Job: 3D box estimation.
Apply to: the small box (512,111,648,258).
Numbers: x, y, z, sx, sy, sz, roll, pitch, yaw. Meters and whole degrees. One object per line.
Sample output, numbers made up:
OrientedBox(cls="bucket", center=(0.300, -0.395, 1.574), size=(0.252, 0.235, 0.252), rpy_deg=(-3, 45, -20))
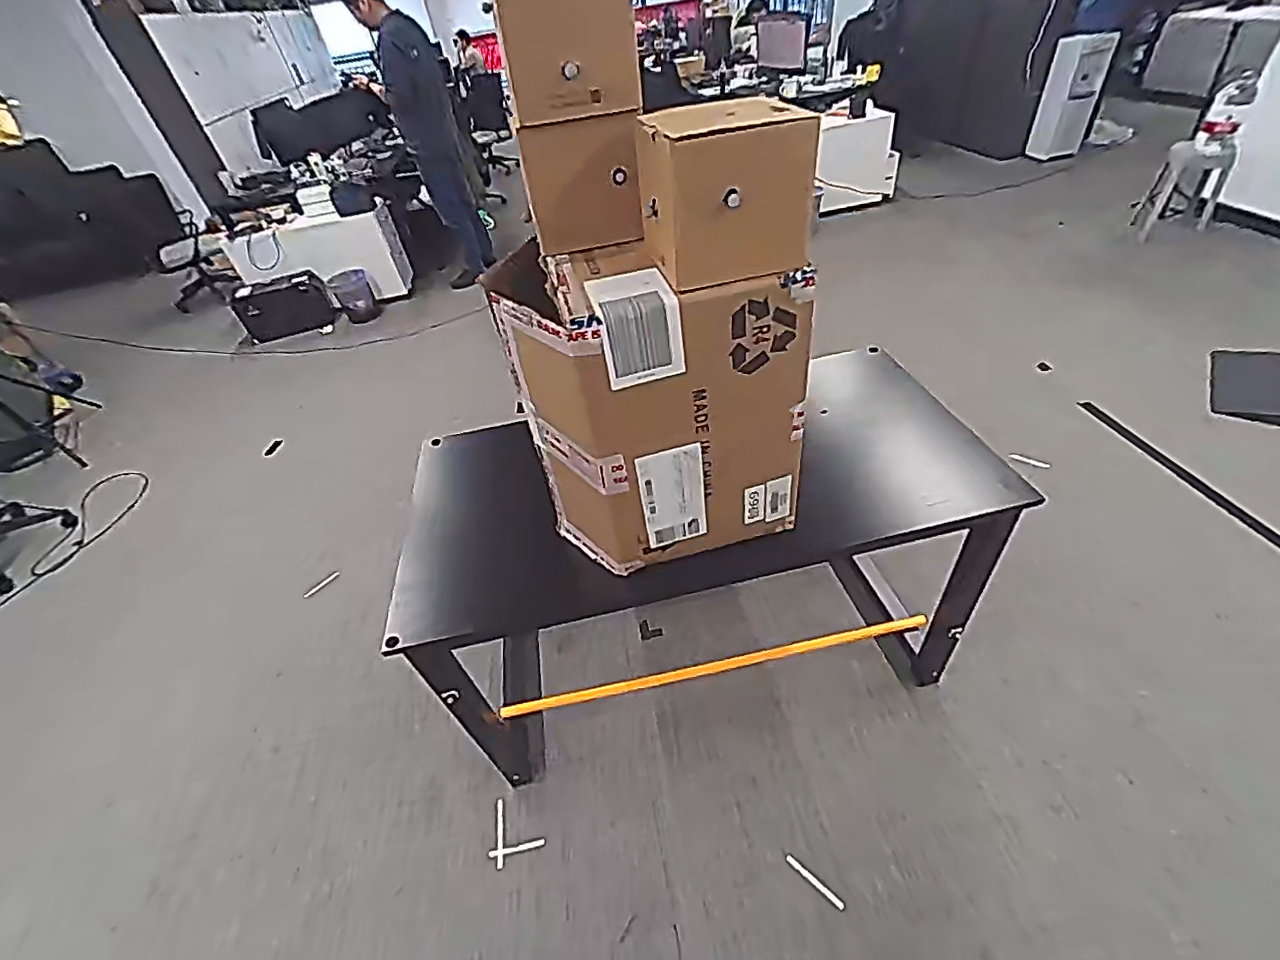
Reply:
OrientedBox(cls="small box", center=(-0.088, -0.462, 0.833), size=(0.179, 0.176, 0.168), rpy_deg=(-14, 39, -6))

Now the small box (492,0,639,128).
OrientedBox(cls="small box", center=(-0.103, -0.585, 0.724), size=(0.168, 0.176, 0.179), rpy_deg=(-13, 40, -6))

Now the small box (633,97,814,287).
OrientedBox(cls="small box", center=(0.102, -0.366, 0.694), size=(0.179, 0.176, 0.168), rpy_deg=(-14, 44, -5))
